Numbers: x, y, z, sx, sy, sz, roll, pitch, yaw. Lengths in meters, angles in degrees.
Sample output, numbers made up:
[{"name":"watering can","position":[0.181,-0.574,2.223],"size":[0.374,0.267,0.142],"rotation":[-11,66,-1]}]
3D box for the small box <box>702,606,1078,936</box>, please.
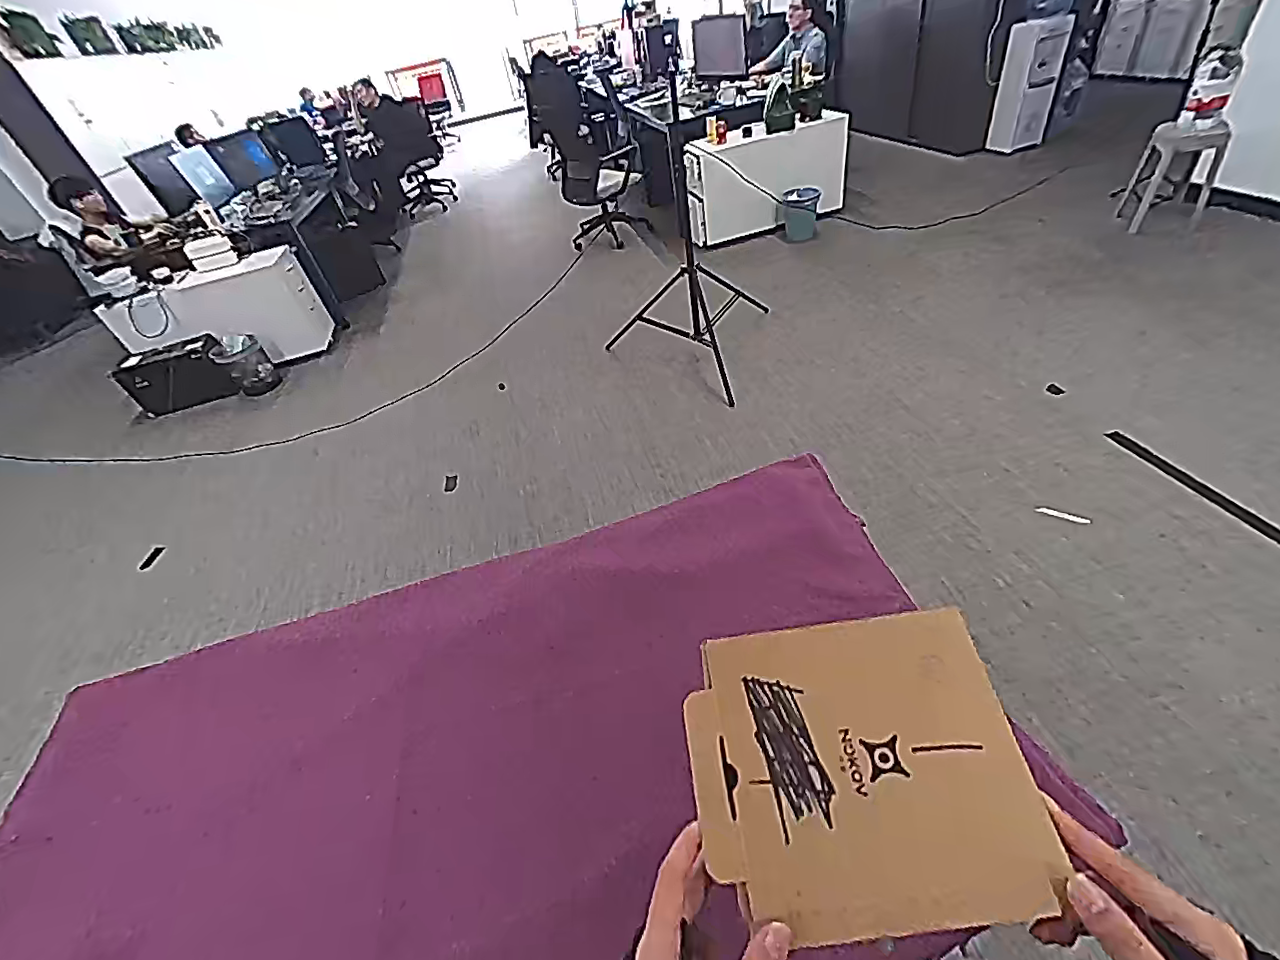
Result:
[{"name":"small box","position":[0.145,0.208,0.393],"size":[0.179,0.176,0.168],"rotation":[-8,57,2]}]
